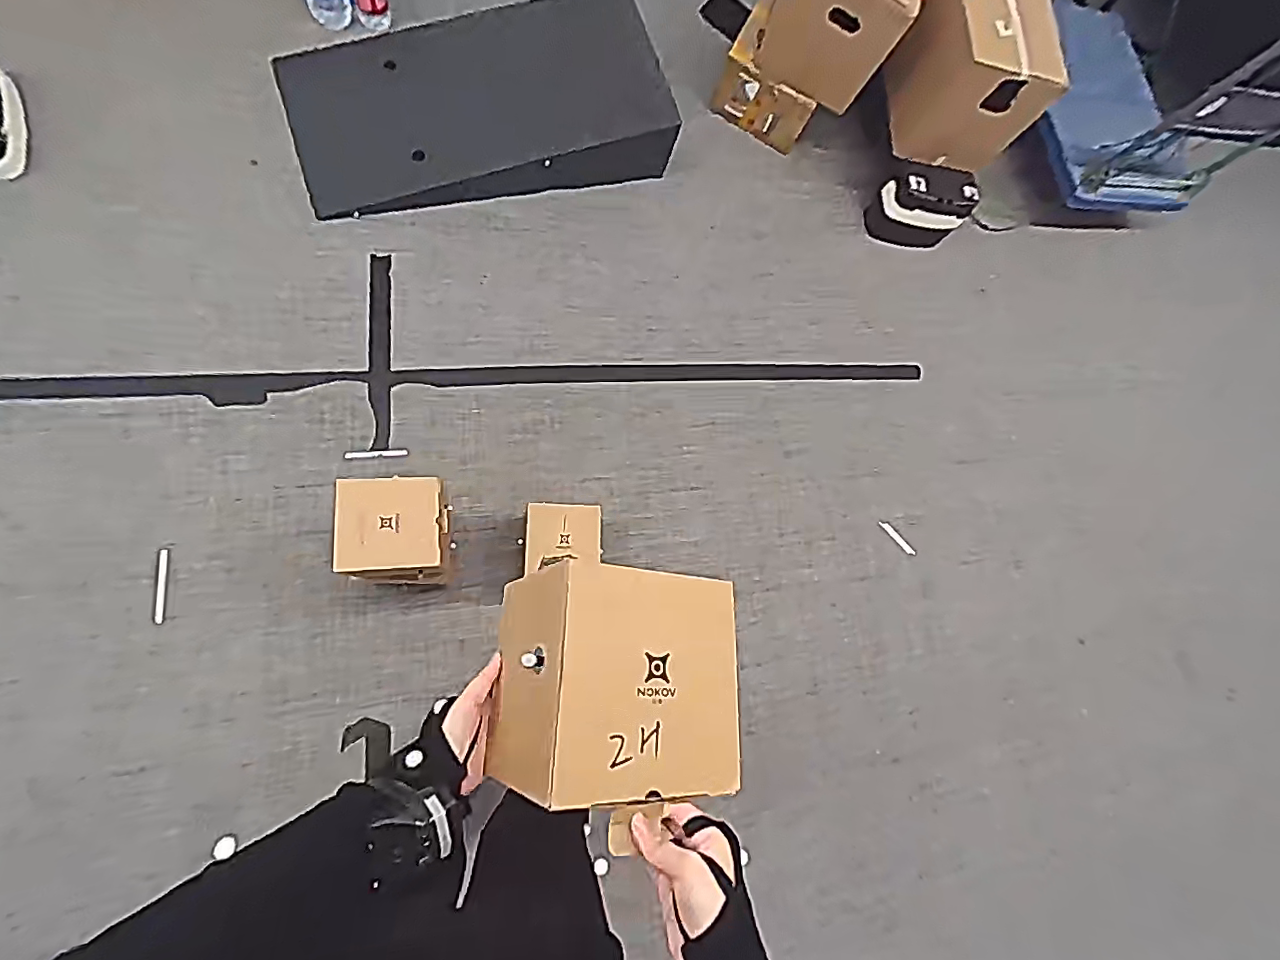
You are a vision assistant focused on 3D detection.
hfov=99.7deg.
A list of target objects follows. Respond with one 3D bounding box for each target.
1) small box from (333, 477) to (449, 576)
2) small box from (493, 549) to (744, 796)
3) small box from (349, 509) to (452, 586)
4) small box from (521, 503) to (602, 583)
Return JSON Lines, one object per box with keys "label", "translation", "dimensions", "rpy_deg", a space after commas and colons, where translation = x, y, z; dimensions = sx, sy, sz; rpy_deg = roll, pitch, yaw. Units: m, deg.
{"label": "small box", "translation": [-0.459, 0.092, 1.024], "dimensions": [0.179, 0.176, 0.168], "rpy_deg": [-1, 77, -14]}
{"label": "small box", "translation": [-0.024, 0.177, 0.497], "dimensions": [0.168, 0.176, 0.179], "rpy_deg": [15, 65, -27]}
{"label": "small box", "translation": [-0.508, 0.141, 1.173], "dimensions": [0.179, 0.176, 0.168], "rpy_deg": [4, 76, -15]}
{"label": "small box", "translation": [-0.186, 0.158, 1.255], "dimensions": [0.168, 0.176, 0.179], "rpy_deg": [4, 75, -14]}
